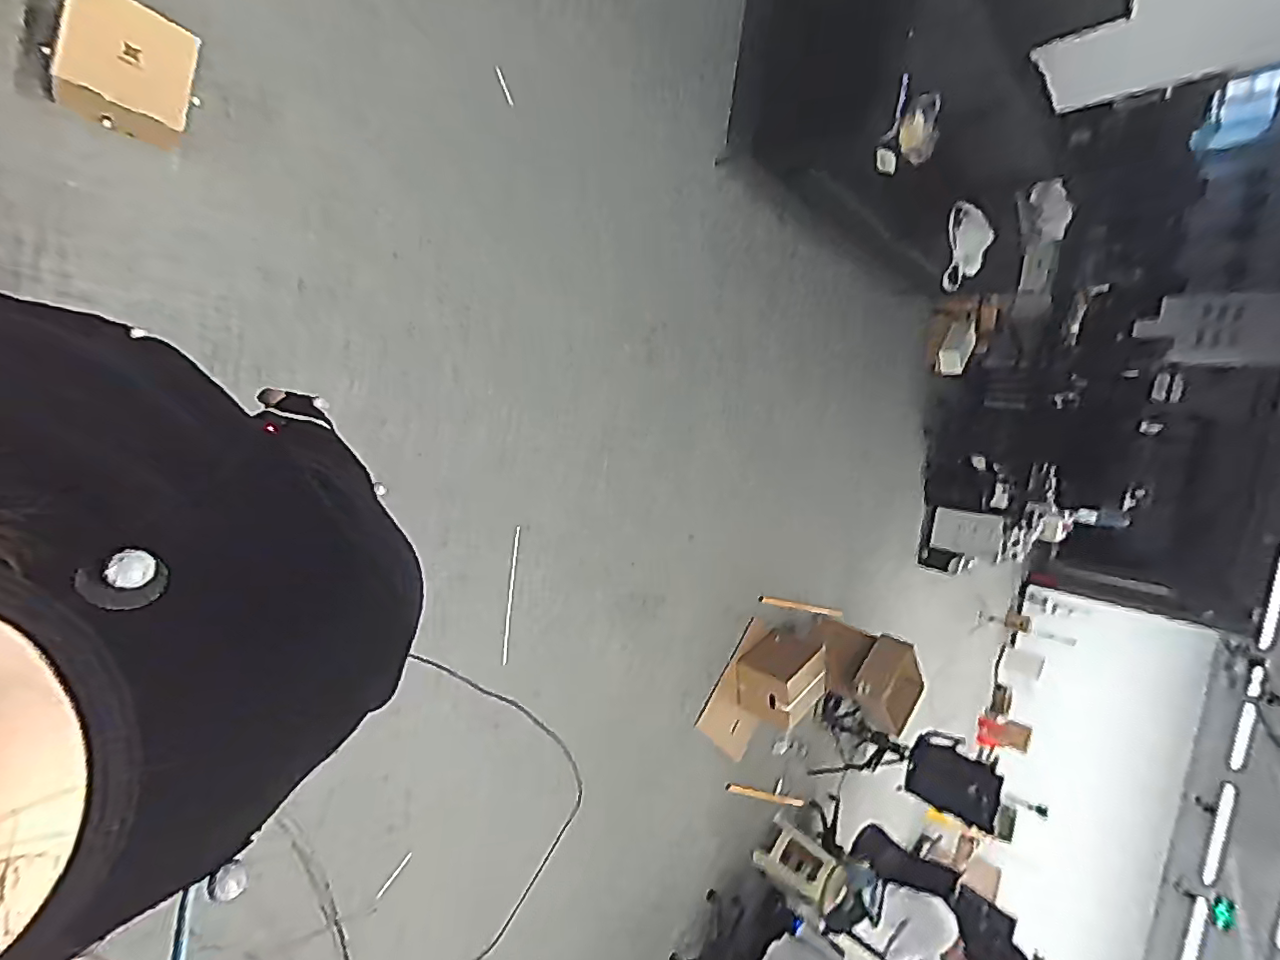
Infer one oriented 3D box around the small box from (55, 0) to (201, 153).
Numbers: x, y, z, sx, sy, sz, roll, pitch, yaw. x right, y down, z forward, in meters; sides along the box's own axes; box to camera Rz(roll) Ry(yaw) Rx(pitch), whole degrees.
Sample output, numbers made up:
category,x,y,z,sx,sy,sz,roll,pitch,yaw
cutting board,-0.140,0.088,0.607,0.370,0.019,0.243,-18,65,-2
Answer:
category,x,y,z,sx,sy,sz,roll,pitch,yaw
small box,-0.928,-0.738,0.979,0.168,0.176,0.179,10,92,-47
